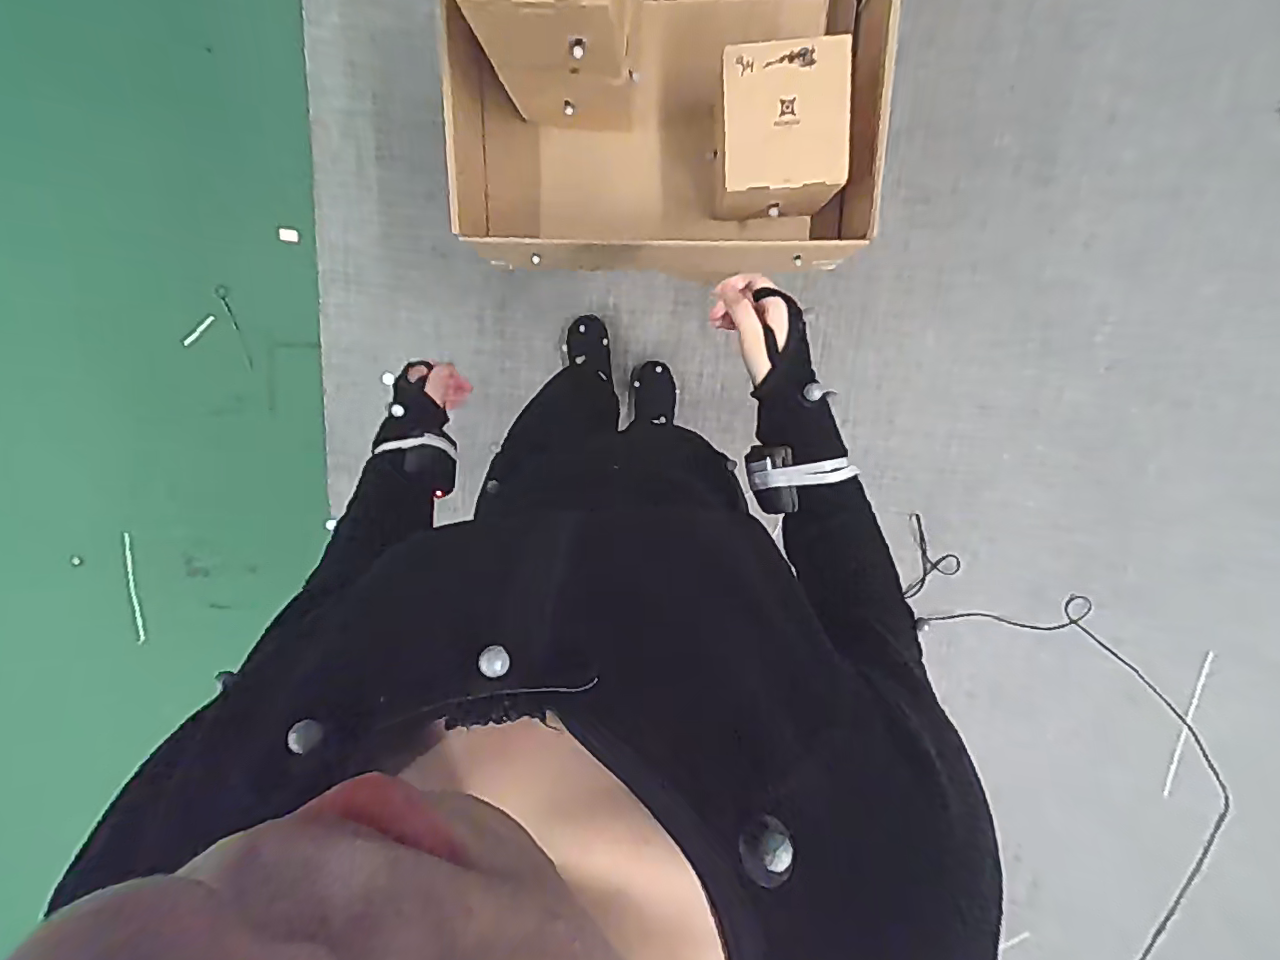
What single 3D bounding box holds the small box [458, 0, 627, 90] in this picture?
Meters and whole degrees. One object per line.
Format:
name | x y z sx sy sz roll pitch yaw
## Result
small box | -0.101 -0.588 0.625 0.168 0.176 0.179 4 102 1
